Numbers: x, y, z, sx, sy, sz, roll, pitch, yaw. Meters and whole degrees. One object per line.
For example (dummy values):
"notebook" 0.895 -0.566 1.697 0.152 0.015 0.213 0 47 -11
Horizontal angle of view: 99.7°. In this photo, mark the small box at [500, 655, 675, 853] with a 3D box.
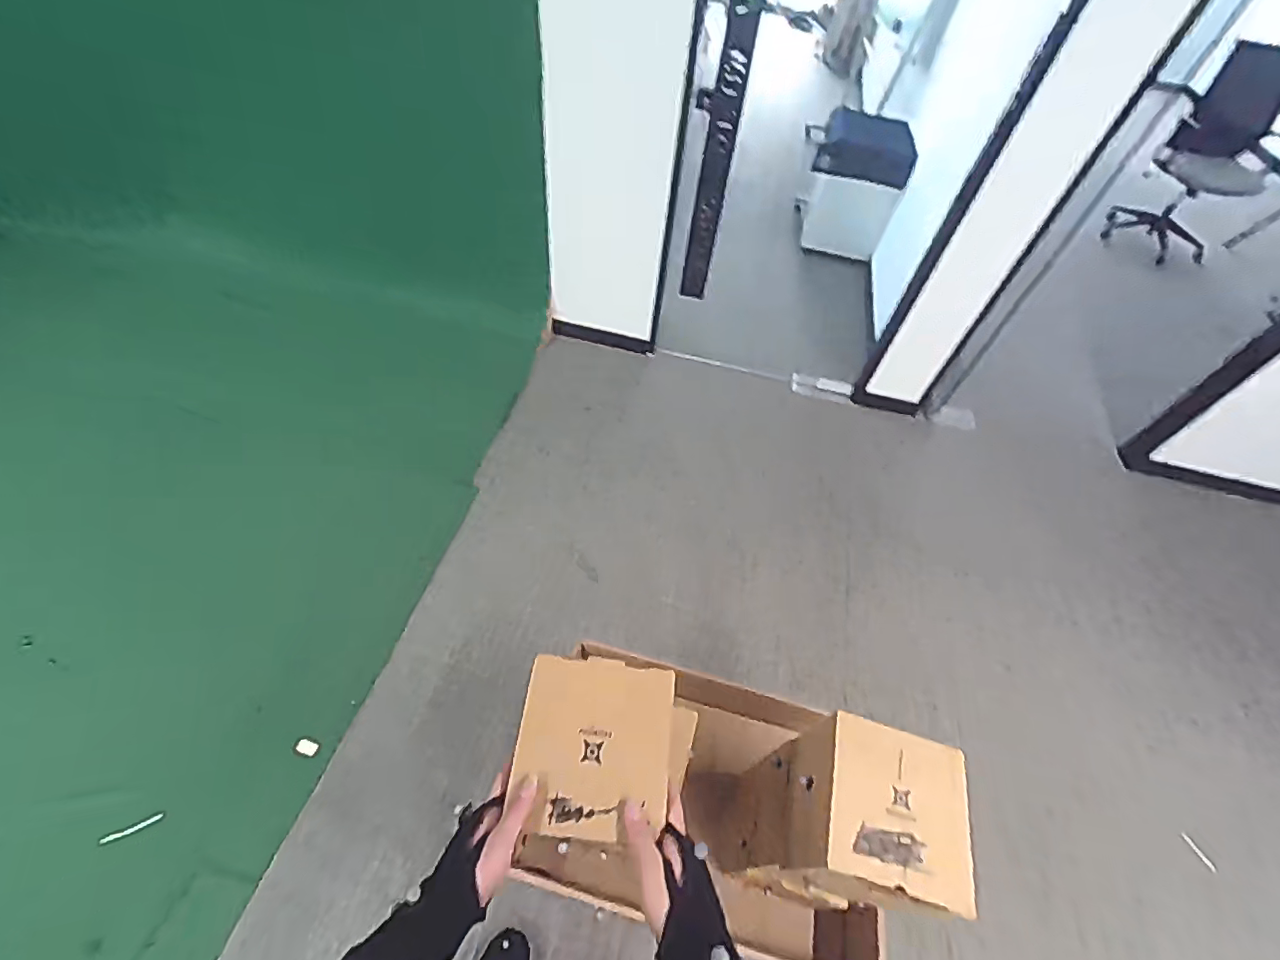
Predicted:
"small box" -0.056 0.329 0.642 0.168 0.176 0.179 7 56 0

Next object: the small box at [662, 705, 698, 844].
"small box" -0.019 0.451 0.854 0.168 0.176 0.179 17 52 7

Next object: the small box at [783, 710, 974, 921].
"small box" 0.295 0.432 0.697 0.168 0.176 0.179 18 52 5
